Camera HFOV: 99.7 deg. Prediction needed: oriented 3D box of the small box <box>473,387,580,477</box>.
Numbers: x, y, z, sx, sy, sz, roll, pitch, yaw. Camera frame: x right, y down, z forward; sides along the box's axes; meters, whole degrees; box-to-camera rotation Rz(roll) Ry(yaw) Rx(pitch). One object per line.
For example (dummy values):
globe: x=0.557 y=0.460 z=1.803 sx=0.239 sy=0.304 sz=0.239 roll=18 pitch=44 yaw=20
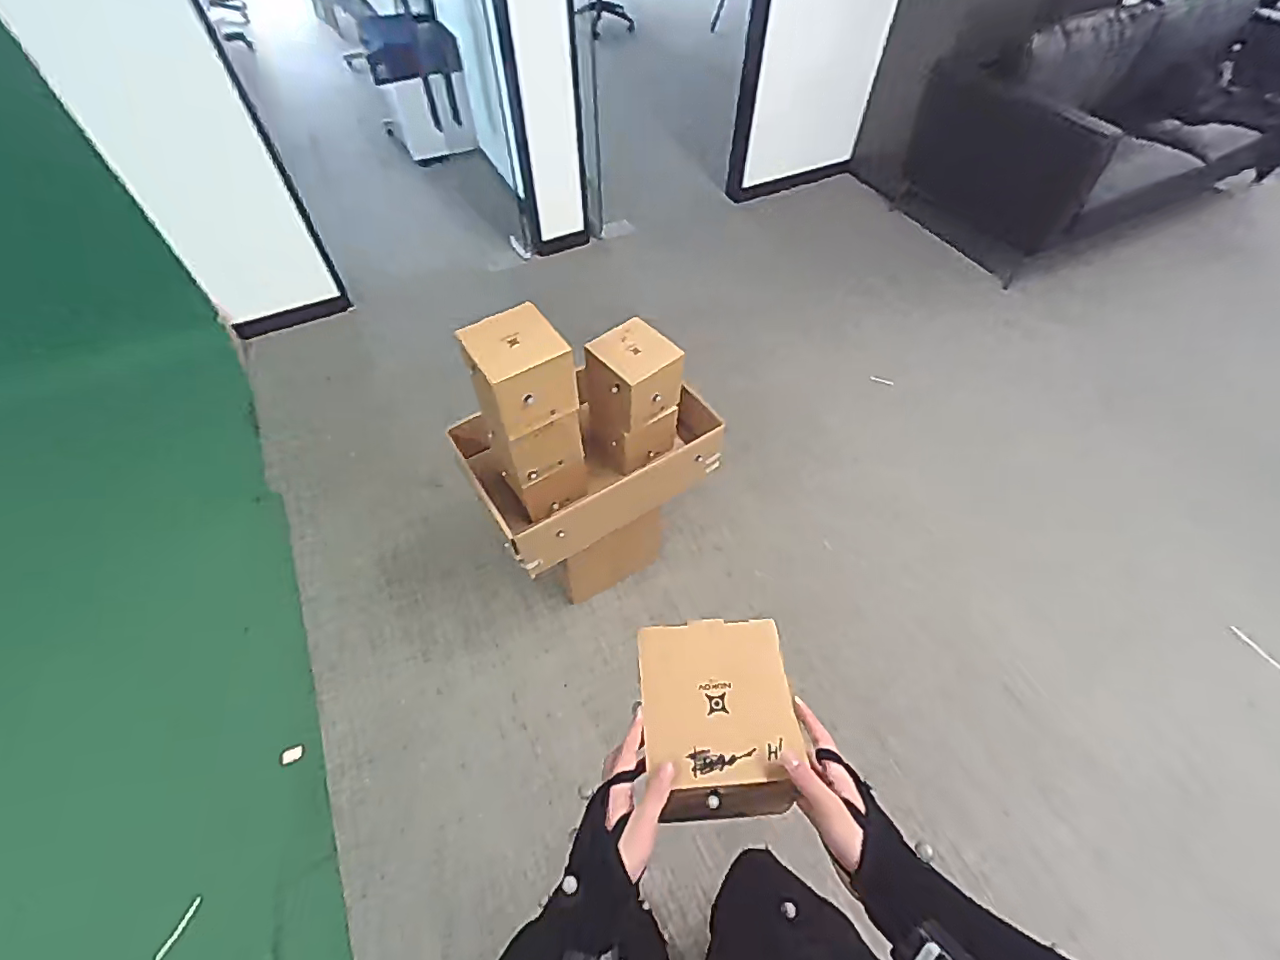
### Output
small box: x=-0.247 y=-0.128 z=1.214 sx=0.168 sy=0.176 sz=0.179 roll=-27 pitch=58 yaw=-18

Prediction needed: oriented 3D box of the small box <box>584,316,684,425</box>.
small box: x=-0.014 y=-0.255 z=1.306 sx=0.168 sy=0.176 sz=0.179 roll=-35 pitch=62 yaw=-24

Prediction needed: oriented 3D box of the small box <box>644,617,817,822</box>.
small box: x=0.089 y=0.282 z=0.637 sx=0.168 sy=0.176 sz=0.179 roll=-4 pitch=49 yaw=0

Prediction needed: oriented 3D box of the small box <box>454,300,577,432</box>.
small box: x=-0.240 y=-0.219 z=1.079 sx=0.168 sy=0.176 sz=0.179 roll=-29 pitch=59 yaw=-19
